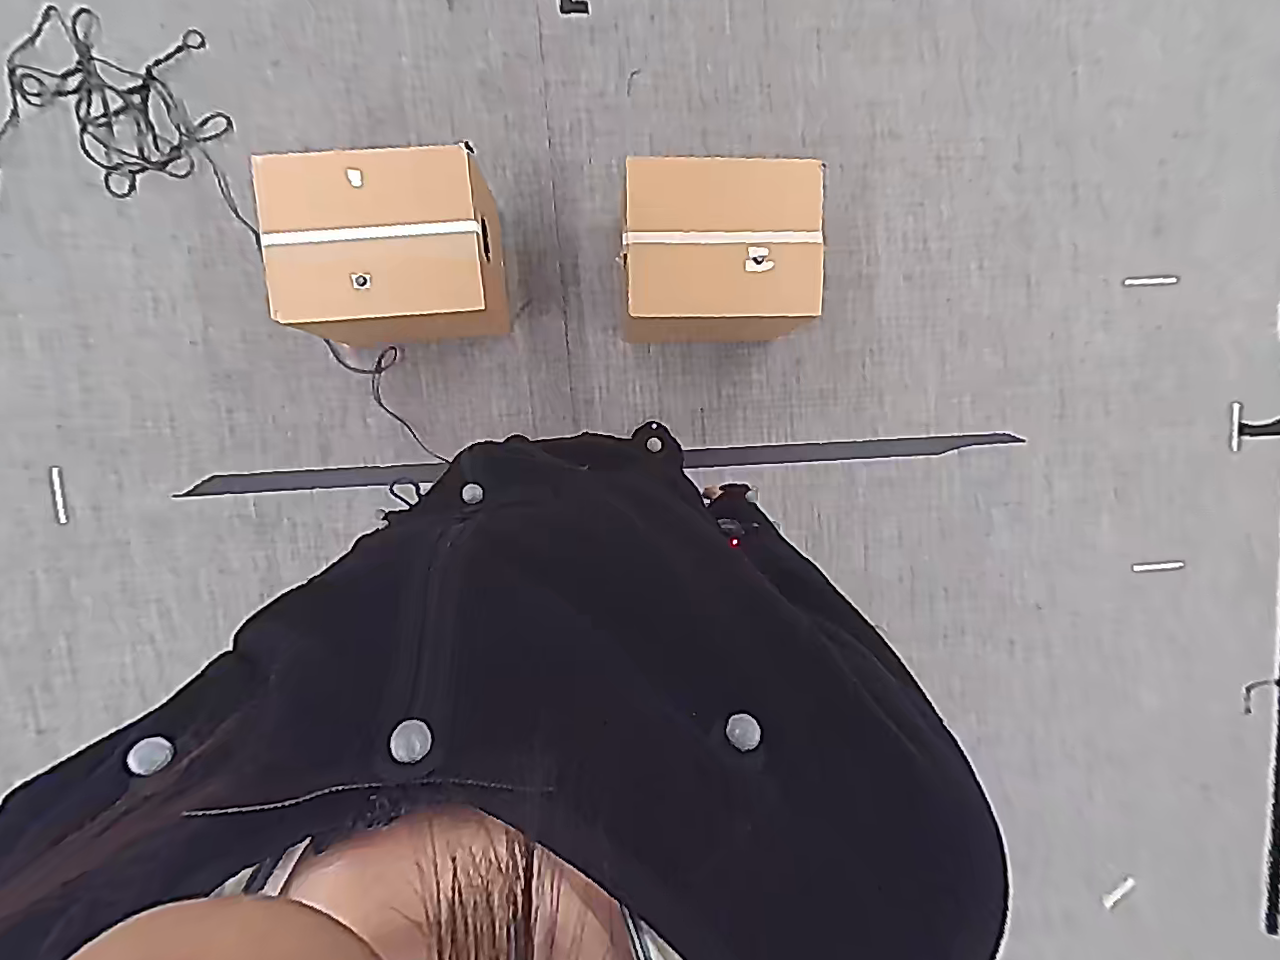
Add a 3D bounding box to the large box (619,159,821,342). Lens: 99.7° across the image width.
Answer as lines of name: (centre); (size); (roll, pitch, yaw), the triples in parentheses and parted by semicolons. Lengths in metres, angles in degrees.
large box: (0.163, -0.505, 1.253); (0.408, 0.320, 0.320); (-1, 96, -5)
